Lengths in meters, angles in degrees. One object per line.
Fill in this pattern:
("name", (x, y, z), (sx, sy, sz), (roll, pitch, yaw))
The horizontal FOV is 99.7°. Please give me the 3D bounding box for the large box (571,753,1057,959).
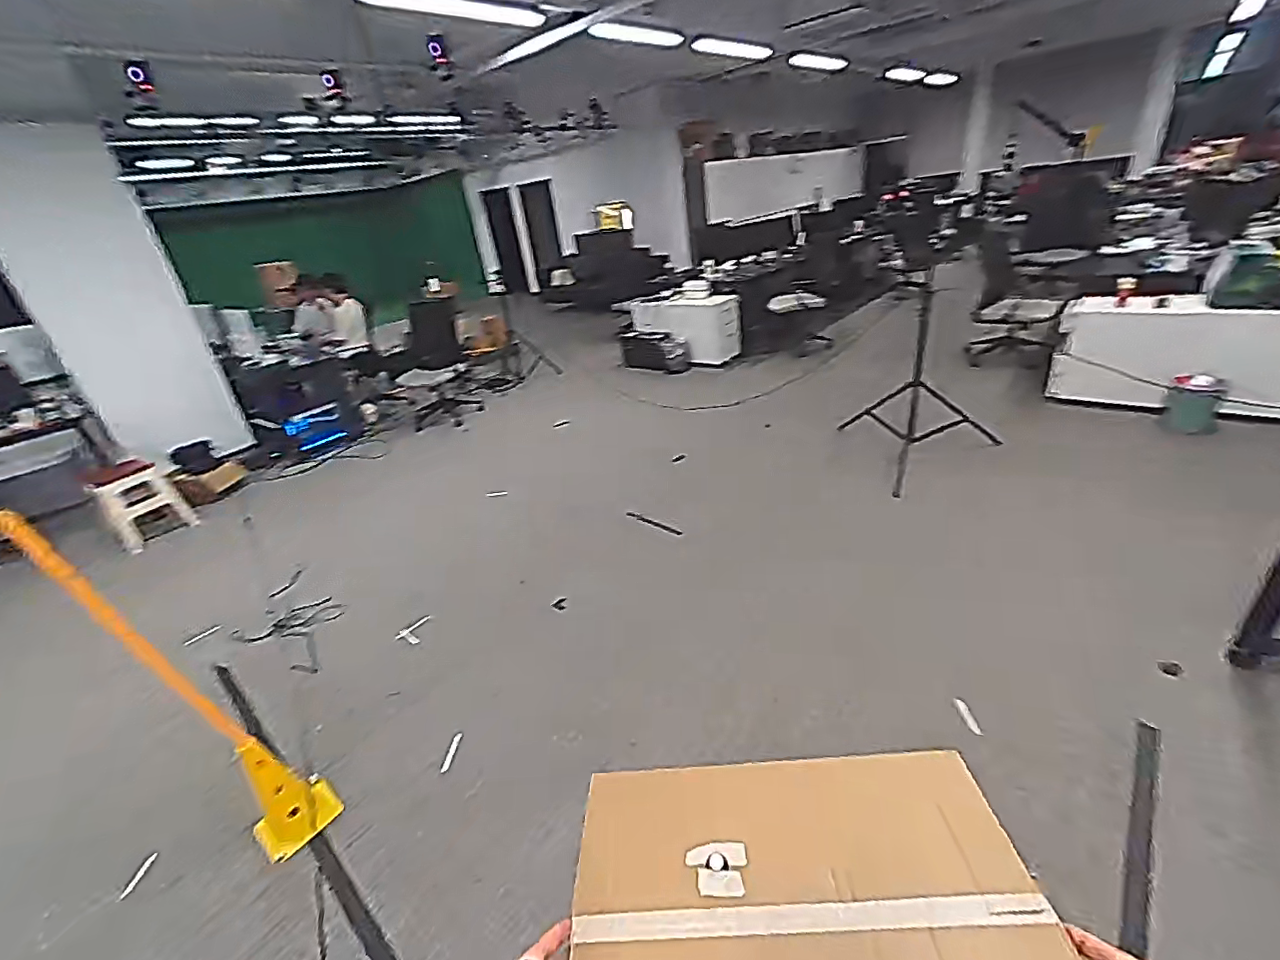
("large box", (0.159, 0.525, 0.532), (0.408, 0.320, 0.320), (-8, 23, 5))
